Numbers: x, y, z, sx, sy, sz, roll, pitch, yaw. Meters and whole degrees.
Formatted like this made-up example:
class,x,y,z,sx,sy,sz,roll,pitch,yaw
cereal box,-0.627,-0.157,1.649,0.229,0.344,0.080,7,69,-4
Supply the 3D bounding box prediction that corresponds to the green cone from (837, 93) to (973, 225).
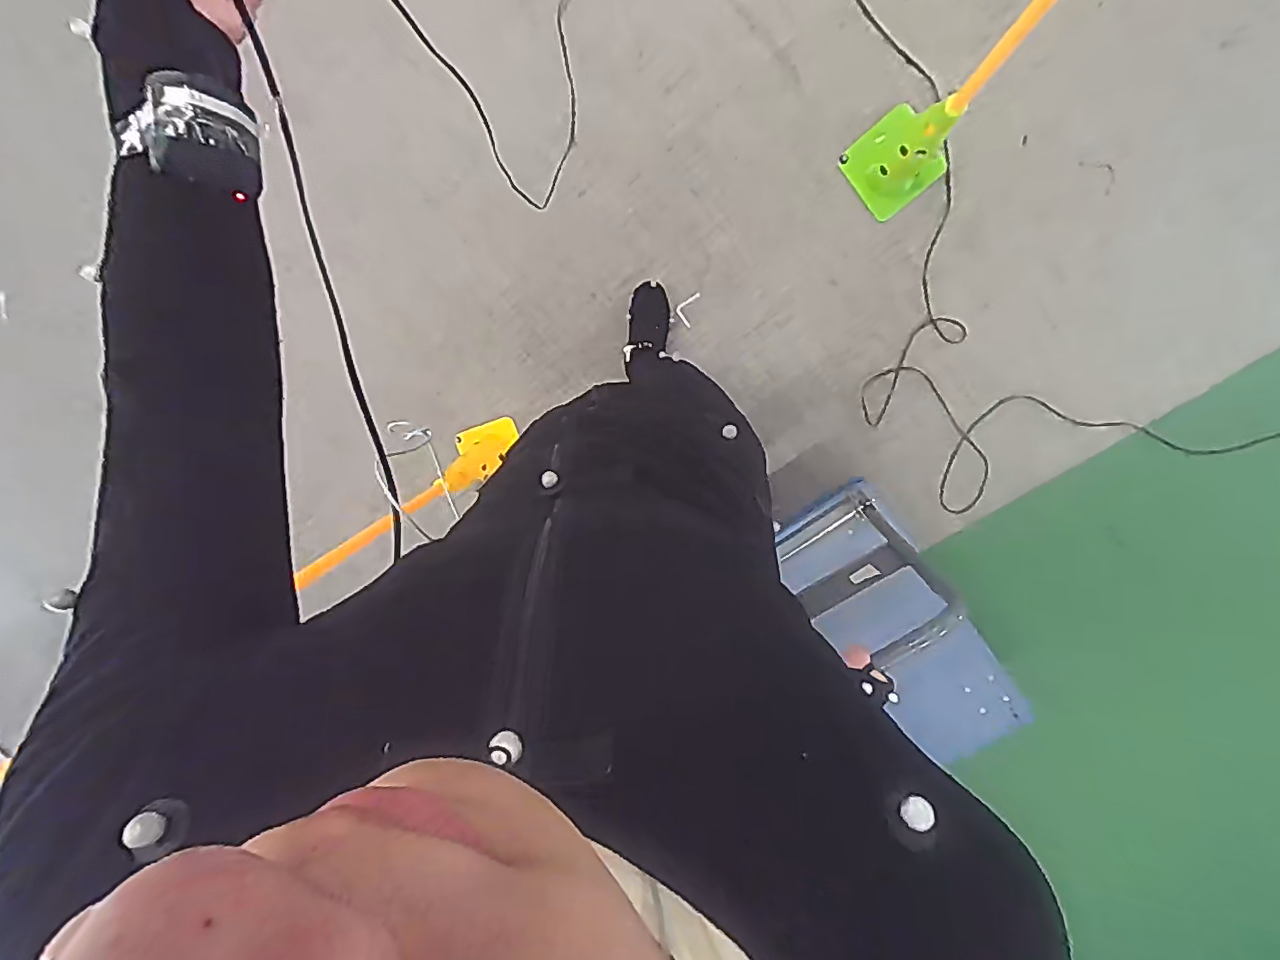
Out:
class,x,y,z,sx,sy,sz,roll,pitch,yaw
green cone,0.605,-0.729,1.169,0.202,0.368,0.200,-39,98,12
